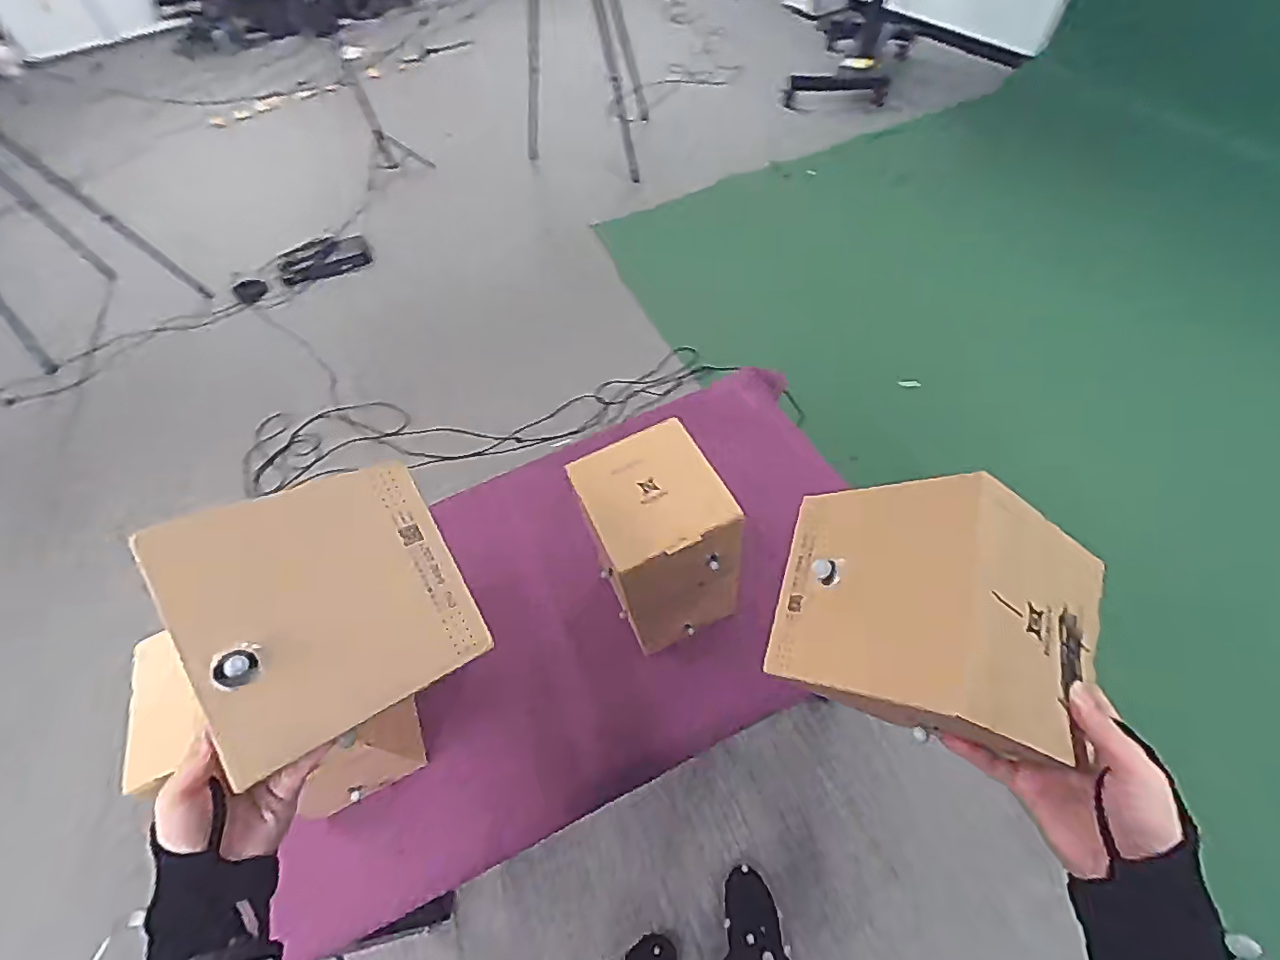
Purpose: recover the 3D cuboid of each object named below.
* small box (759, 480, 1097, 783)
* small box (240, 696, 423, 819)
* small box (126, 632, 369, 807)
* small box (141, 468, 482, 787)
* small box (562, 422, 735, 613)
[{"bbox_3d":[0.232,0.118,0.445,0.179,0.176,0.168,28,68,-22],"label":"small box"},{"bbox_3d":[-0.442,0.361,0.787,0.168,0.176,0.179,-25,55,-9],"label":"small box"},{"bbox_3d":[-0.460,0.265,0.657,0.168,0.176,0.179,-26,56,-11],"label":"small box"},{"bbox_3d":[-0.249,0.112,0.433,0.176,0.179,0.168,-22,80,-39],"label":"small box"},{"bbox_3d":[0.016,0.060,0.734,0.168,0.176,0.179,-24,55,-10],"label":"small box"}]
